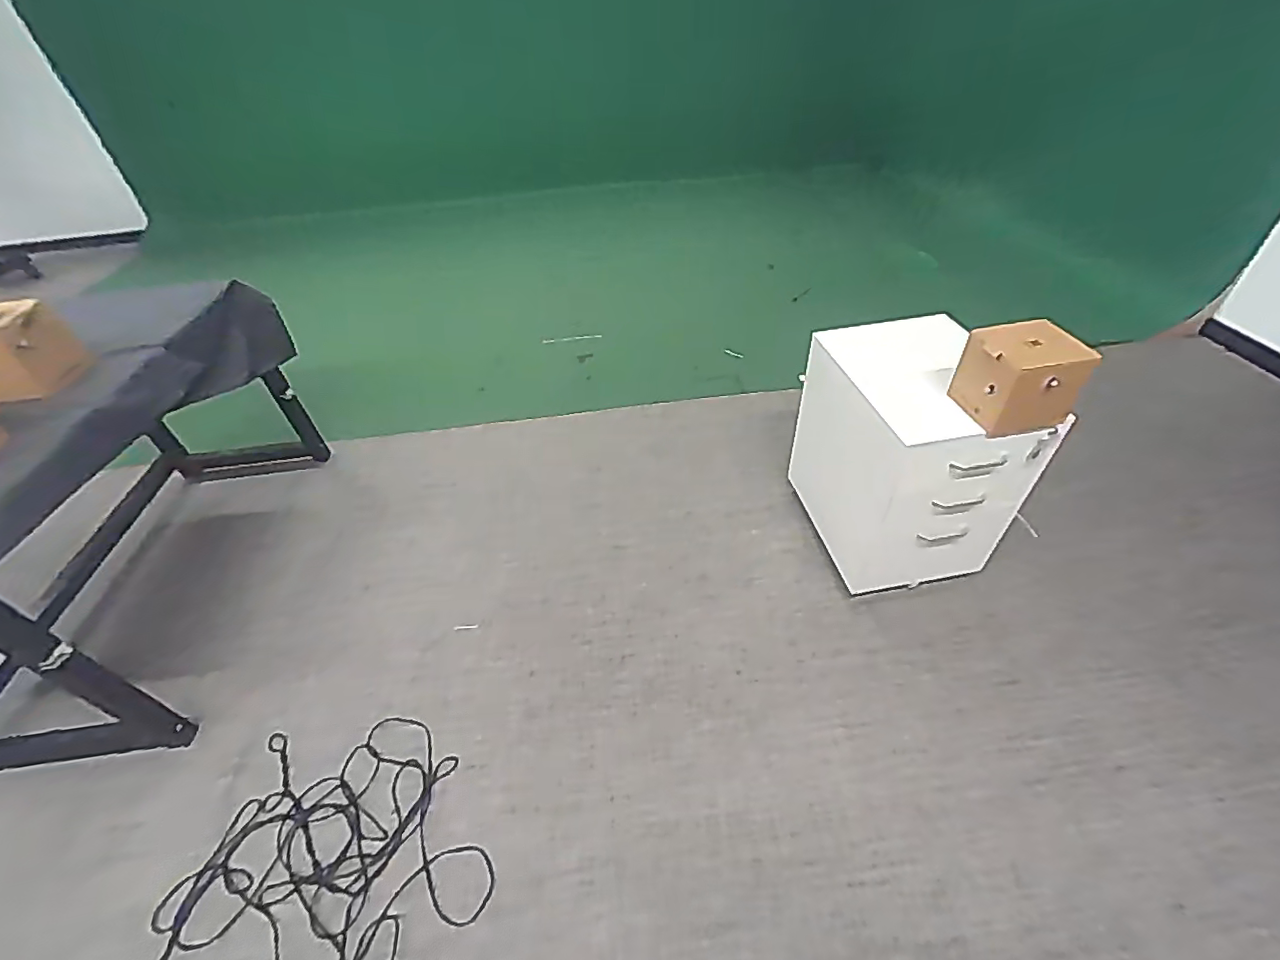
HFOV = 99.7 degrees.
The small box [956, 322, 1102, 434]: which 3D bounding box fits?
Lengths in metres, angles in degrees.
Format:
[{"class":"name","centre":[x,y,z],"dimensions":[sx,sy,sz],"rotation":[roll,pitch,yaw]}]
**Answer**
[{"class":"small box","centre":[0.814,-0.215,1.162],"dimensions":[0.179,0.176,0.168],"rotation":[-9,44,-4]}]
